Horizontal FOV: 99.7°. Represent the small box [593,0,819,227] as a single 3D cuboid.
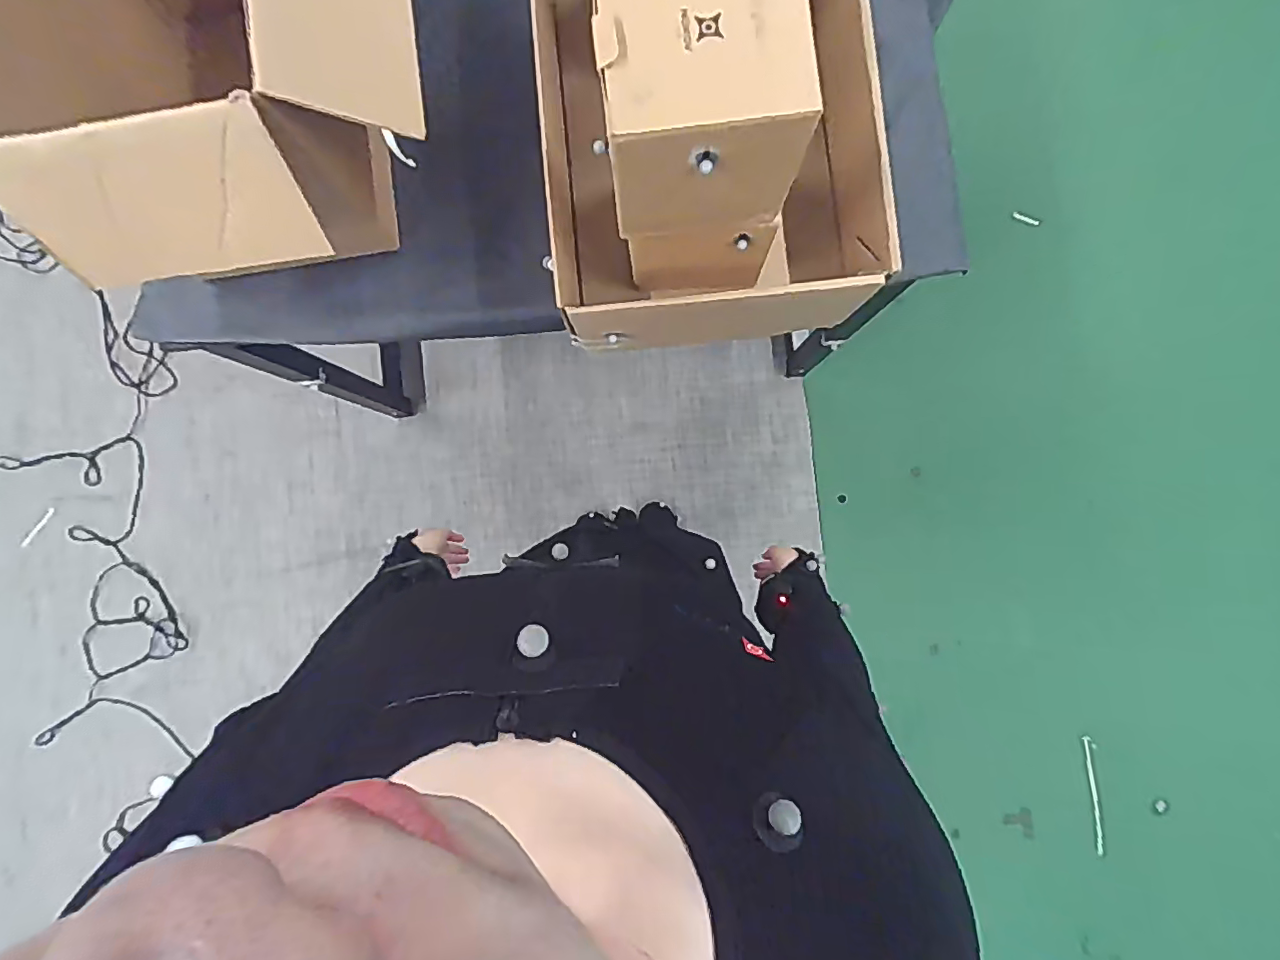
[{"bbox_3d":[0.054,-0.367,0.522,0.179,0.176,0.168,-6,88,0],"label":"small box"}]
